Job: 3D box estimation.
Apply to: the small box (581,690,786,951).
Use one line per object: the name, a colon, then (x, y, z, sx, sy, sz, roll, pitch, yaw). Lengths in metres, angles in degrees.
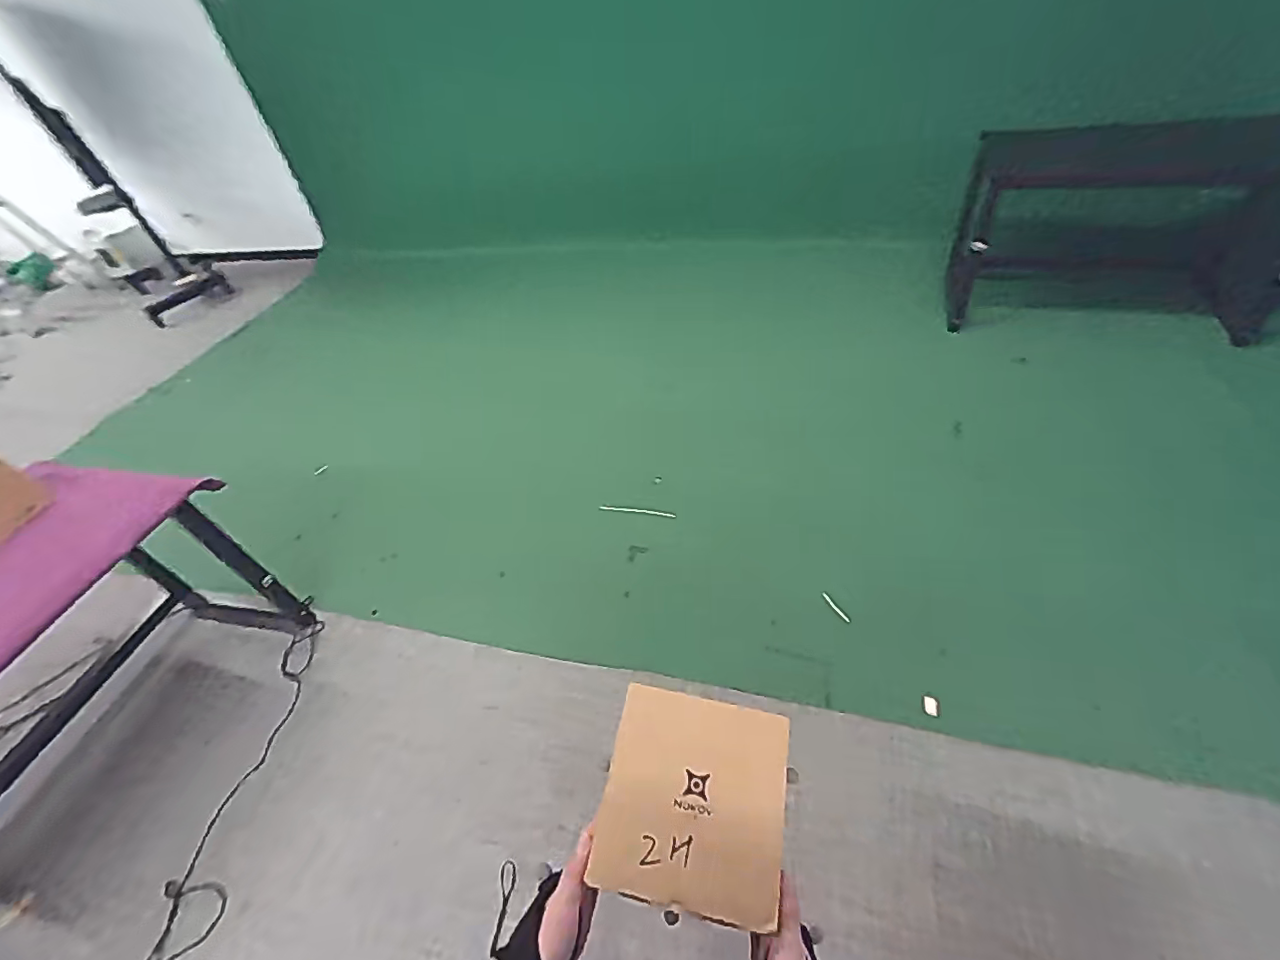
small box: (0.047, 0.345, 0.563, 0.168, 0.176, 0.179, 10, 56, 9)

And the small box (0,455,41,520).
small box: (-1.751, 0.013, 1.400, 0.179, 0.176, 0.168, 7, 49, 15)
